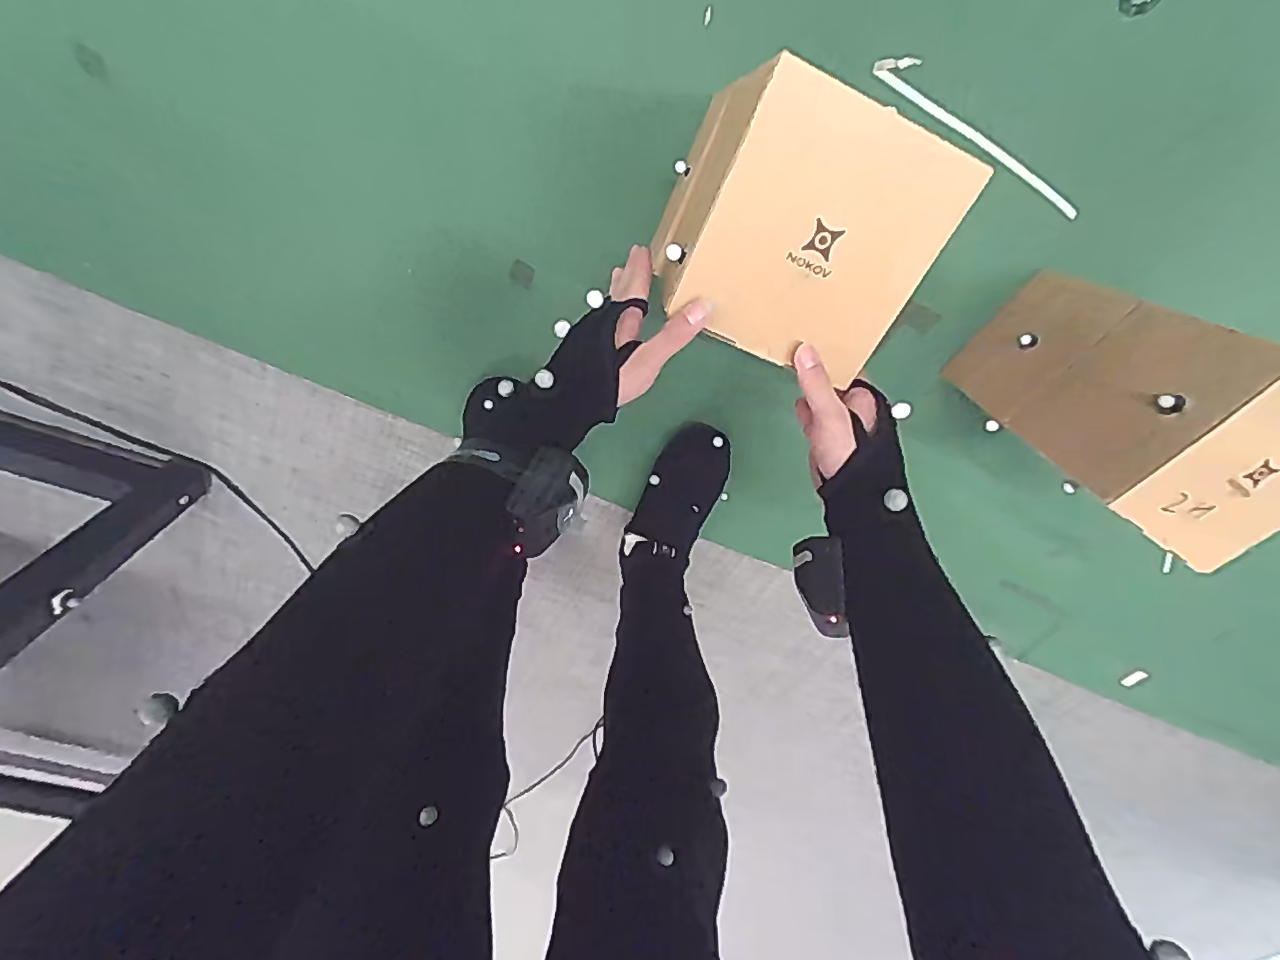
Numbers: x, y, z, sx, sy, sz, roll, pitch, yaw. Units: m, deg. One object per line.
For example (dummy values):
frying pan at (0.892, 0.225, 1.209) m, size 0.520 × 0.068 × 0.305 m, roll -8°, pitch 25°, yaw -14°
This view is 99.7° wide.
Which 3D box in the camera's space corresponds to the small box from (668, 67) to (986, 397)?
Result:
small box at (0.129, -0.204, 0.457) m, size 0.168 × 0.176 × 0.179 m, roll 20°, pitch 121°, yaw -12°

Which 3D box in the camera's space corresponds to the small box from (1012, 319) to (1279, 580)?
small box at (0.545, -0.037, 0.558) m, size 0.168 × 0.176 × 0.179 m, roll 29°, pitch 118°, yaw -17°

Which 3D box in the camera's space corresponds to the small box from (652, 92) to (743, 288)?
small box at (0.123, -0.286, 0.597) m, size 0.168 × 0.176 × 0.179 m, roll 21°, pitch 119°, yaw -12°
